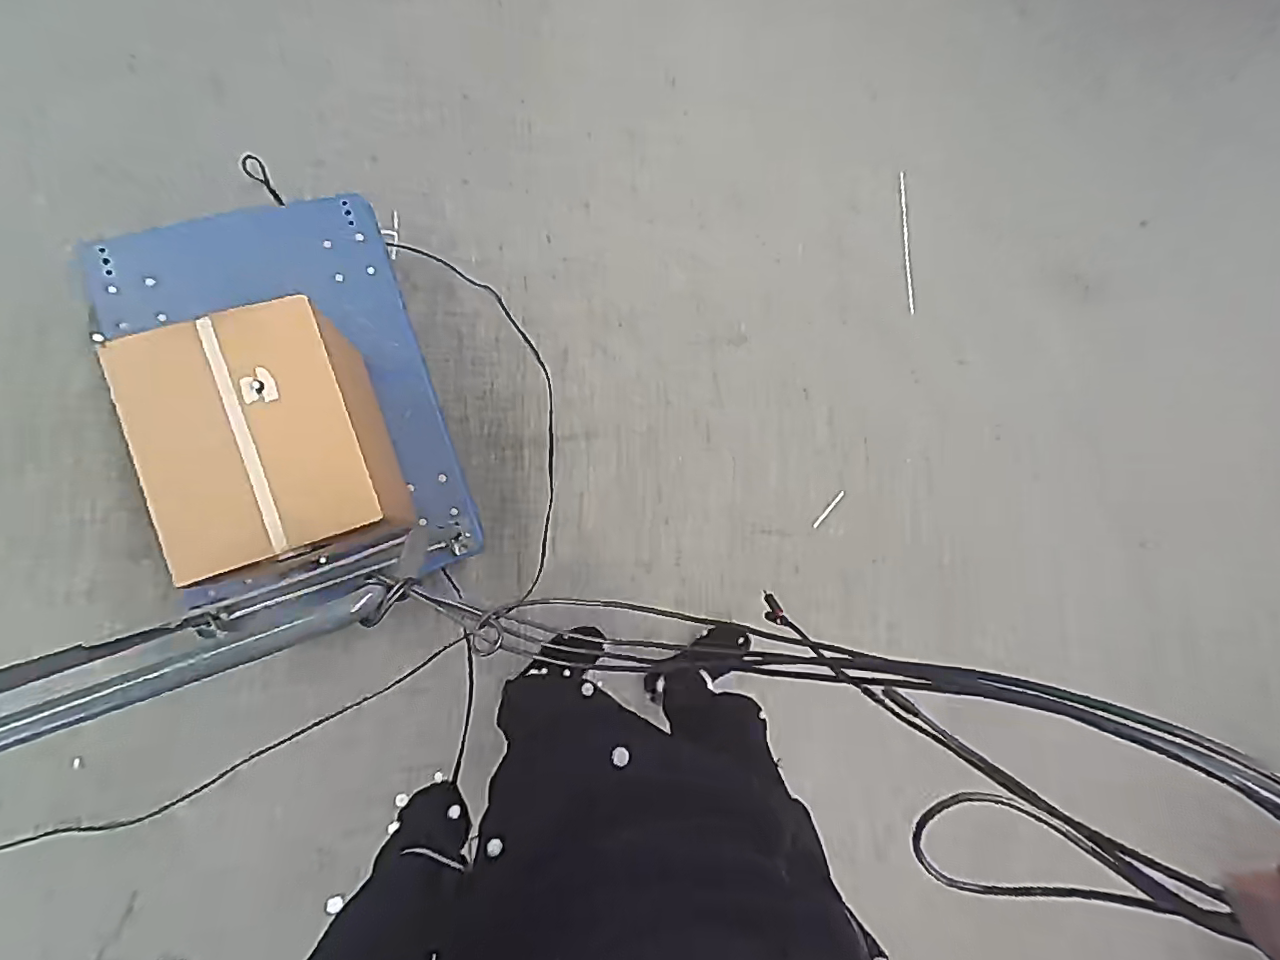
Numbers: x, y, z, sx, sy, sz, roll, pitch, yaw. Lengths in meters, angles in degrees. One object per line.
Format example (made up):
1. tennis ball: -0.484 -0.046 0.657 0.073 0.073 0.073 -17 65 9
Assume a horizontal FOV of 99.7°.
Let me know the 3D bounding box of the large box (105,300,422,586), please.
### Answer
1. large box: -0.656 -0.052 1.013 0.320 0.320 0.408 -20 87 -13
